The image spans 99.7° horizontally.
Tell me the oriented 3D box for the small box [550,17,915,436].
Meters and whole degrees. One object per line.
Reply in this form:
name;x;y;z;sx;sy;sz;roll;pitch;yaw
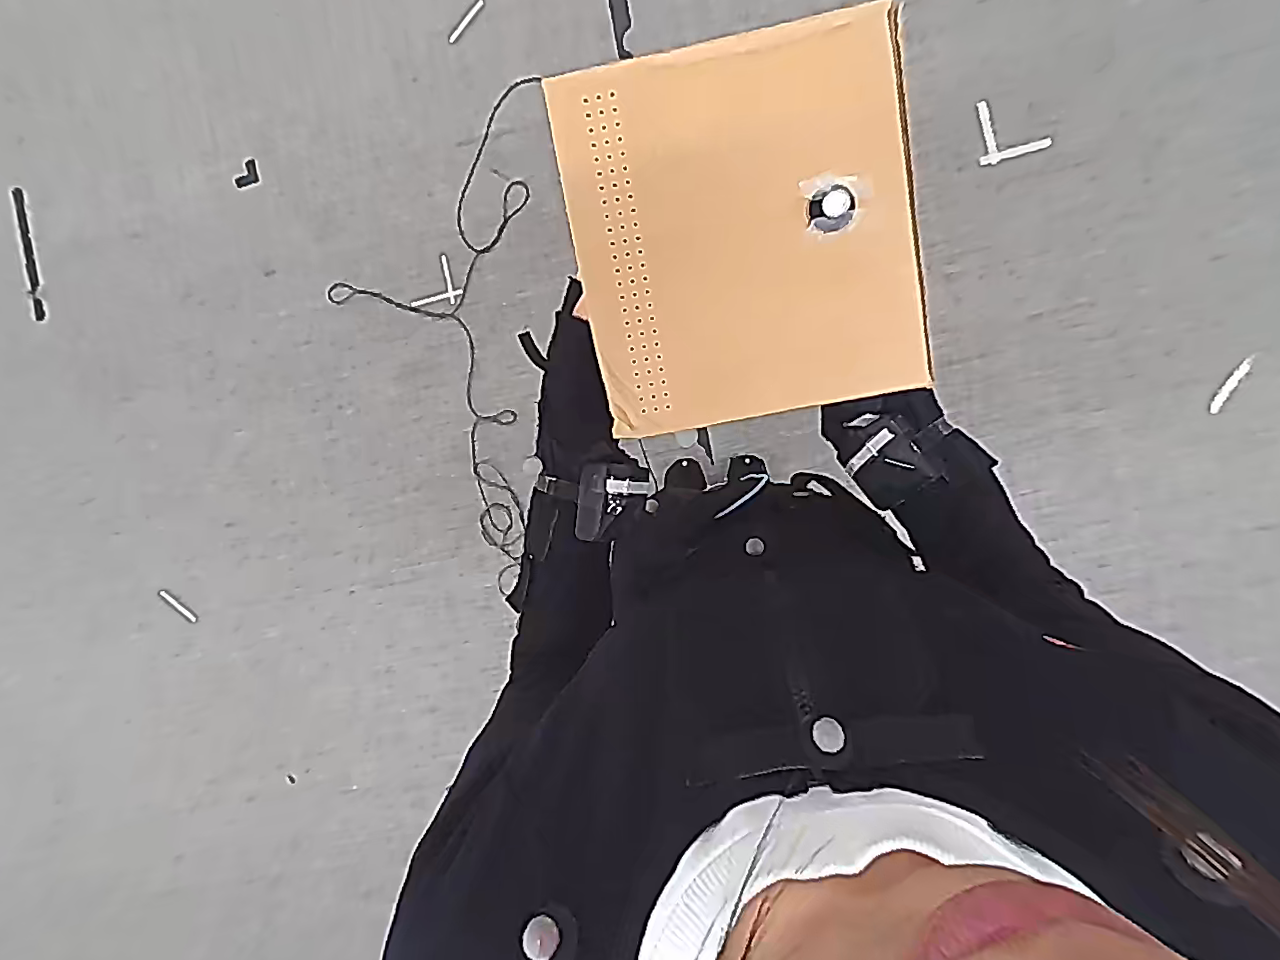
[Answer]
small box;0.049;-0.136;0.352;0.176;0.168;0.179;-10;100;5
